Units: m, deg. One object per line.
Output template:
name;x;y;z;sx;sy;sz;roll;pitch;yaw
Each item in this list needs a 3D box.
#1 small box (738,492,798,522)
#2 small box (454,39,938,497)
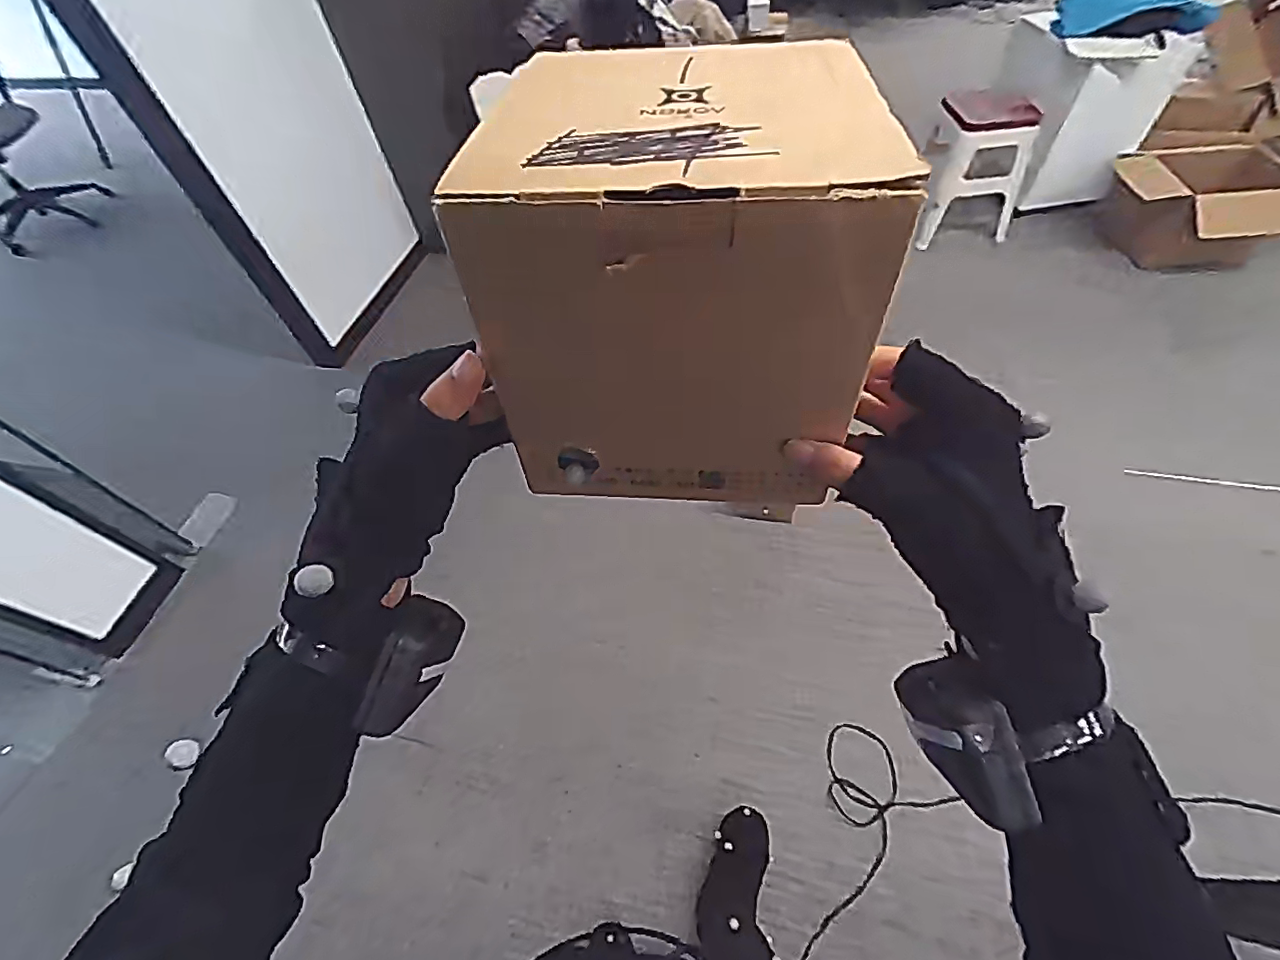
small box;0.391;0.000;1.629;0.168;0.176;0.179;8;56;12
small box;0.028;-0.106;0.292;0.168;0.176;0.179;2;50;6
